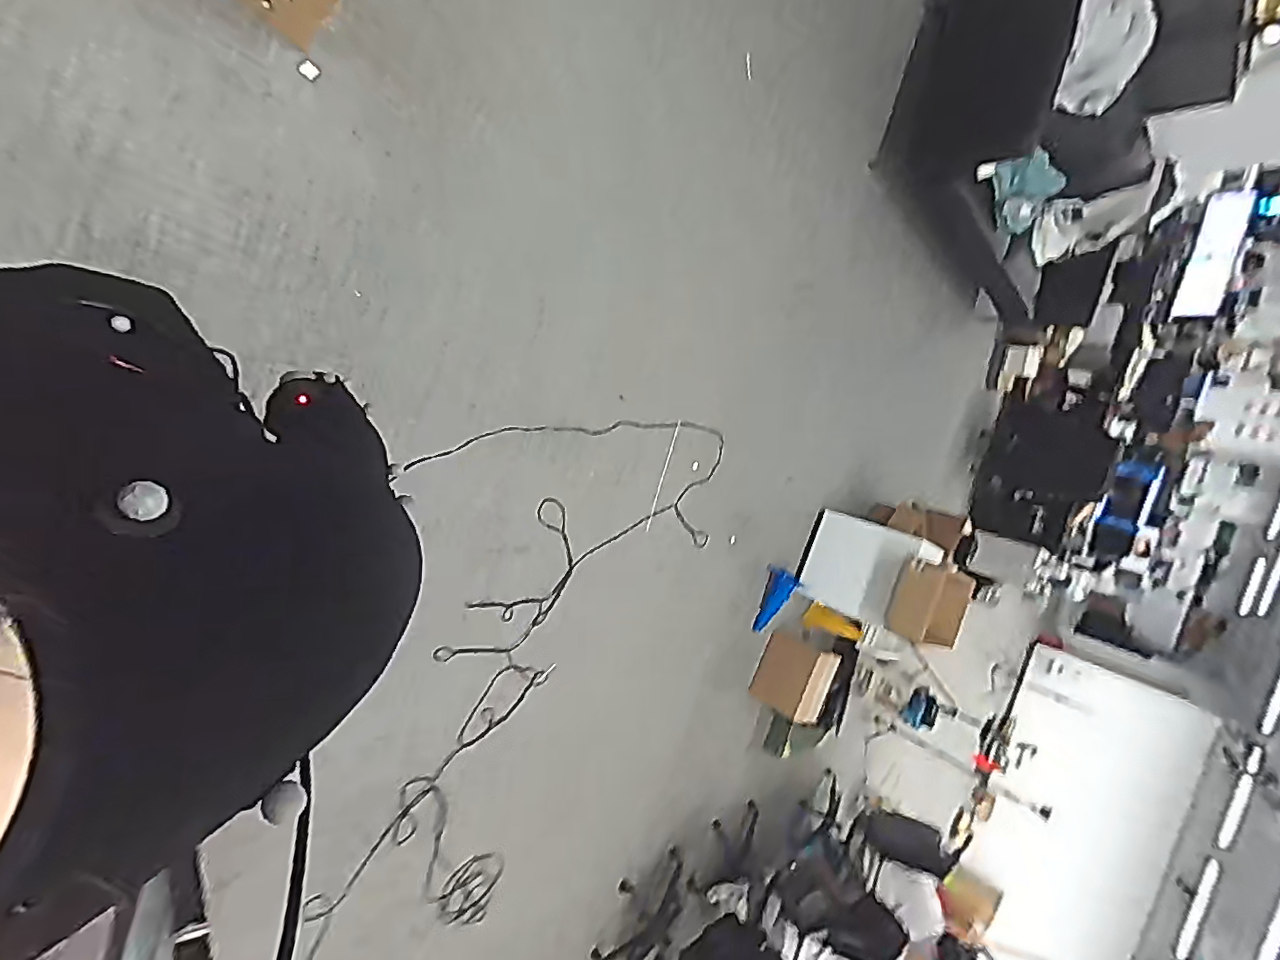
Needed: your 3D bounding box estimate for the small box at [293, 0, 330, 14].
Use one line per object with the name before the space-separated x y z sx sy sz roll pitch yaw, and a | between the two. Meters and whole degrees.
small box | -0.582 -0.963 0.922 0.168 0.176 0.179 26 88 -46
